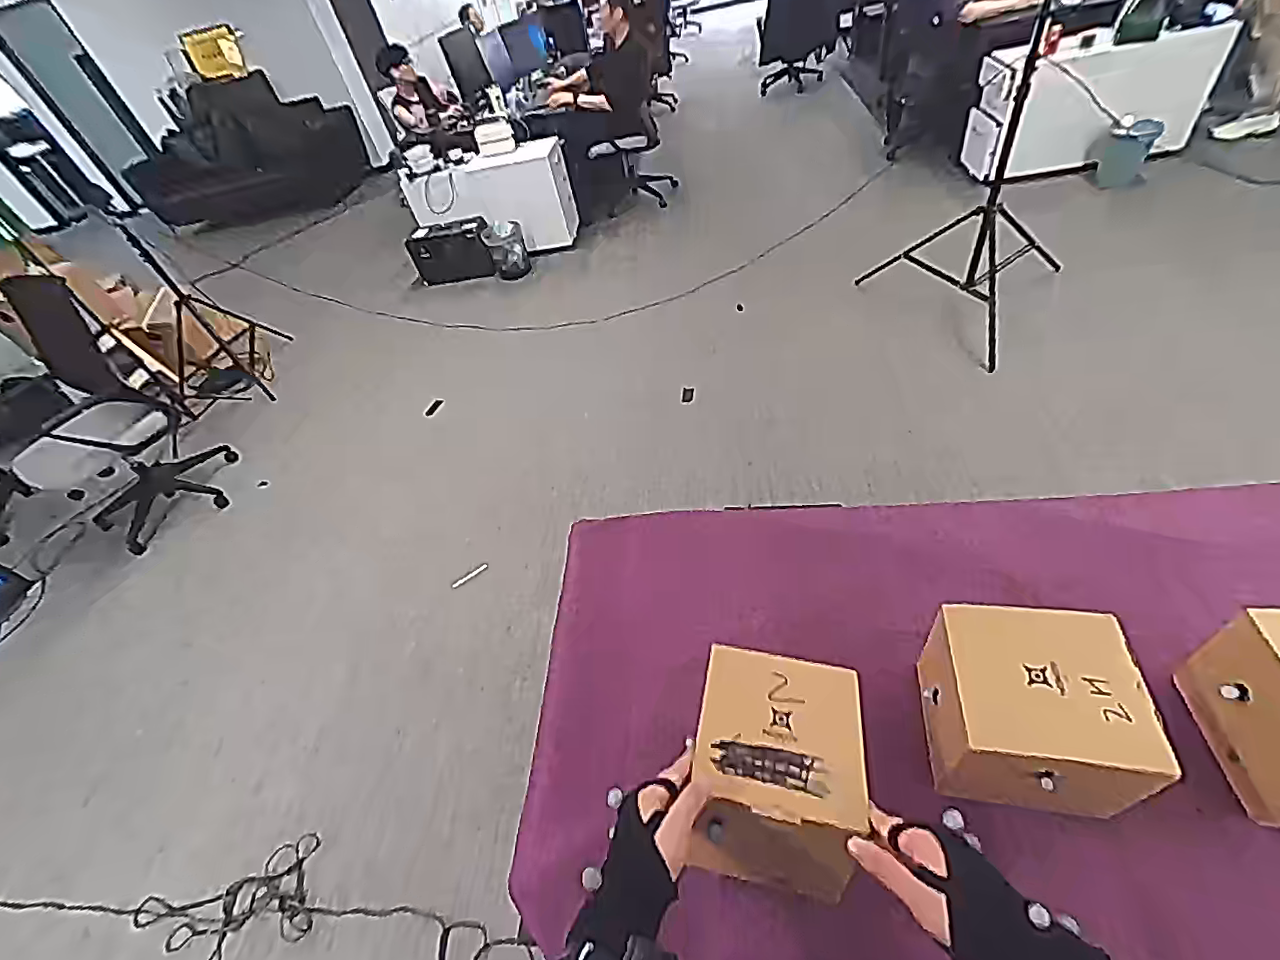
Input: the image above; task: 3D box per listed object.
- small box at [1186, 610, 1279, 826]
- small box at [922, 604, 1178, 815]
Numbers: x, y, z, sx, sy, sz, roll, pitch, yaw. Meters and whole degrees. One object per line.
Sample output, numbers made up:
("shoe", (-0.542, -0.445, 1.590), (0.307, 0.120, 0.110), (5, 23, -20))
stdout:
("small box", (0.729, 0.251, 0.556), (0.179, 0.176, 0.168), (-2, 45, 13))
("small box", (0.436, 0.262, 0.619), (0.179, 0.176, 0.168), (2, 48, 15))
